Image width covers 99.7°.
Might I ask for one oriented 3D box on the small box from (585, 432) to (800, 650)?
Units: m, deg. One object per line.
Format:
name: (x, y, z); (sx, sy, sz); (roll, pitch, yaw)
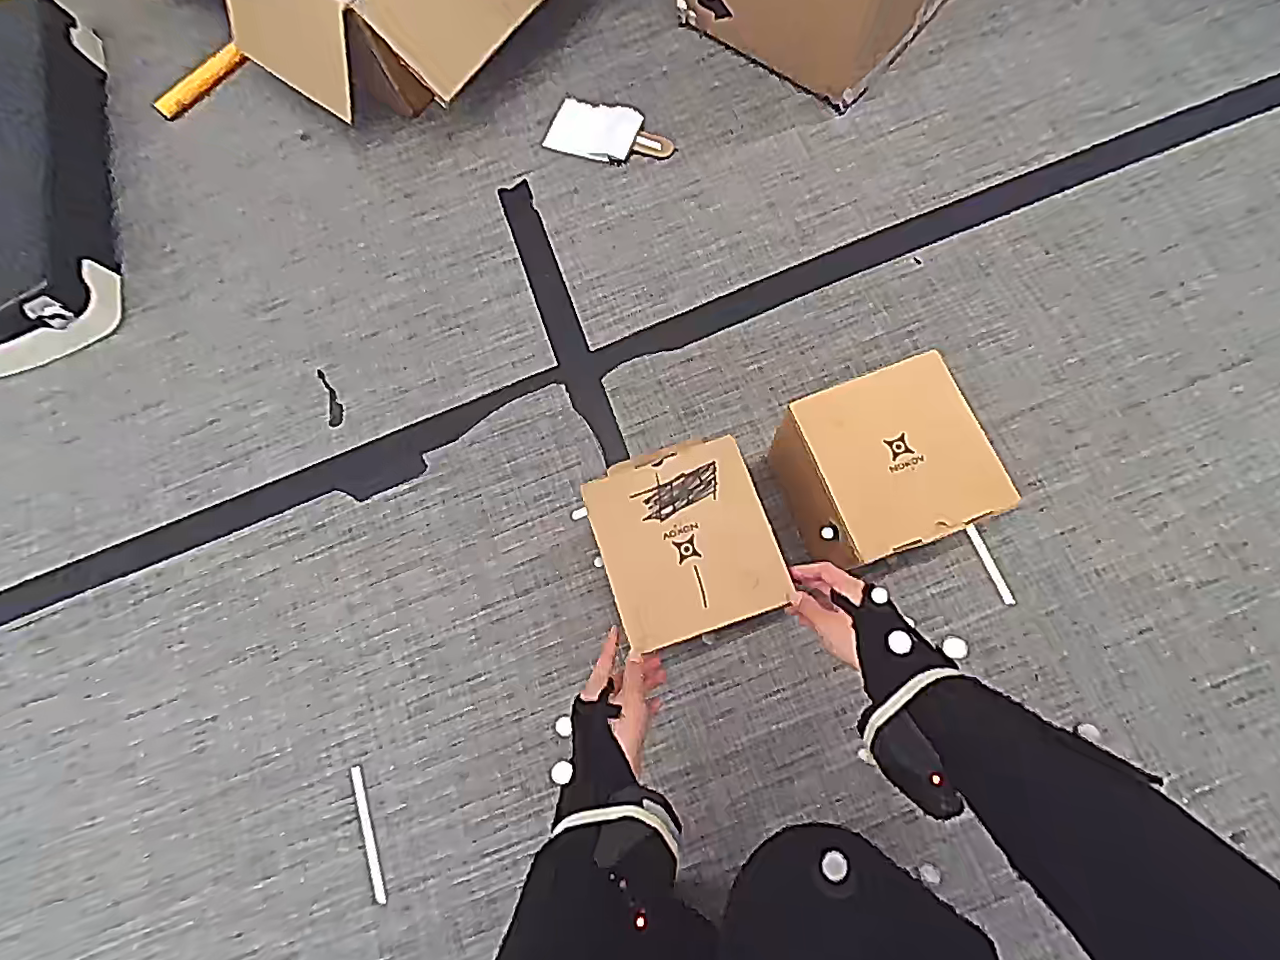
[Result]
small box: (0.051, 0.074, 0.594); (0.168, 0.176, 0.179); (-19, 76, 0)

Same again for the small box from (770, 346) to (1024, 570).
small box: (0.261, -0.012, 0.602); (0.168, 0.176, 0.179); (-21, 75, -1)
